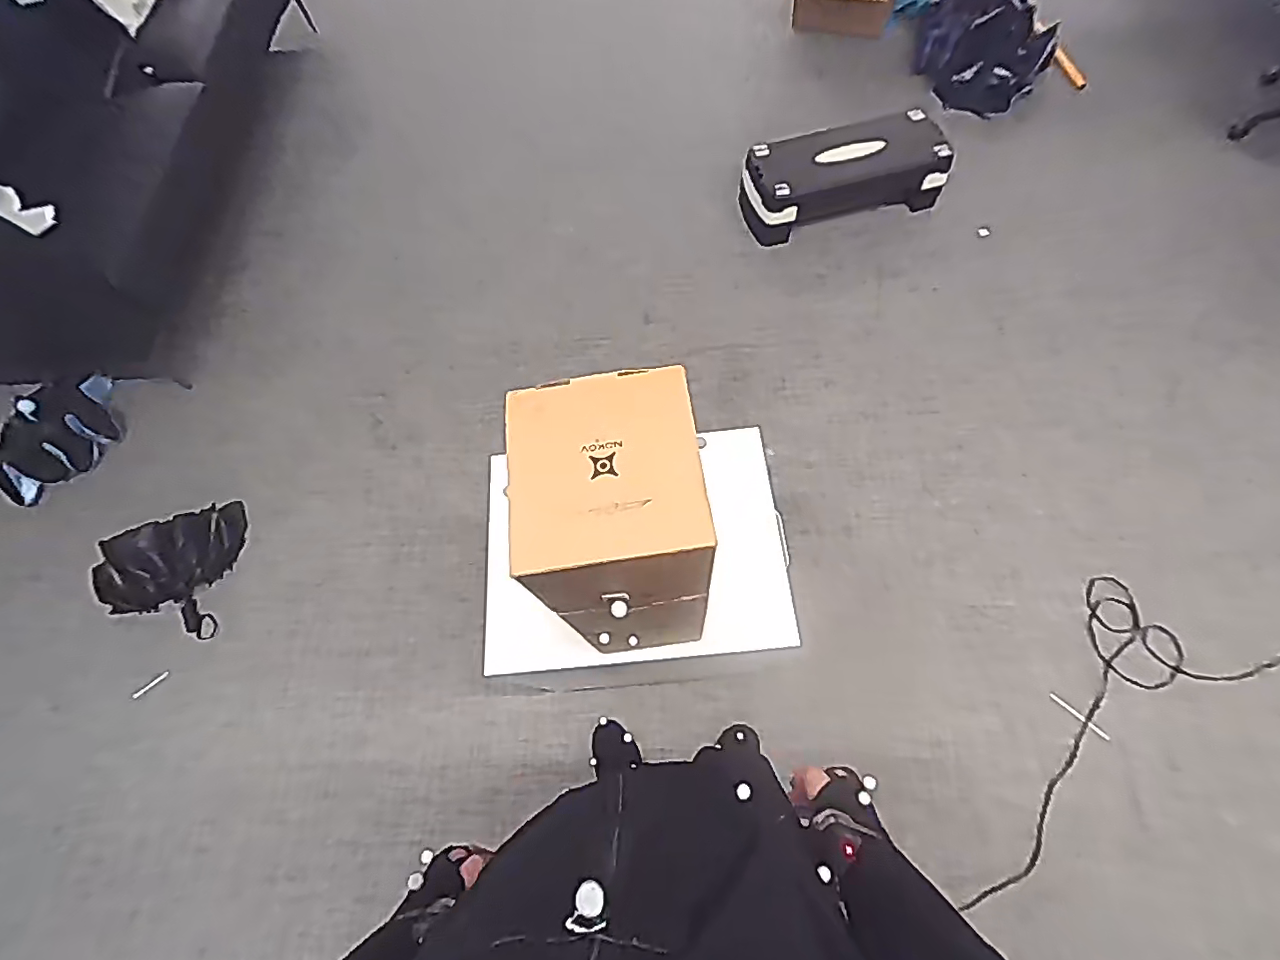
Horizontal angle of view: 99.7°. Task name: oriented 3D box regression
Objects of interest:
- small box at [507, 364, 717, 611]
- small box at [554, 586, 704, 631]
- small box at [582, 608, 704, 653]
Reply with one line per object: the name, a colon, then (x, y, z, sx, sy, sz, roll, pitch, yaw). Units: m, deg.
small box: (-0.025, 0.016, 0.529, 0.168, 0.176, 0.179, -9, 65, 1)
small box: (-0.014, 0.084, 0.677, 0.168, 0.176, 0.179, -8, 64, 0)
small box: (-0.001, 0.153, 0.826, 0.168, 0.176, 0.179, -10, 65, 1)
